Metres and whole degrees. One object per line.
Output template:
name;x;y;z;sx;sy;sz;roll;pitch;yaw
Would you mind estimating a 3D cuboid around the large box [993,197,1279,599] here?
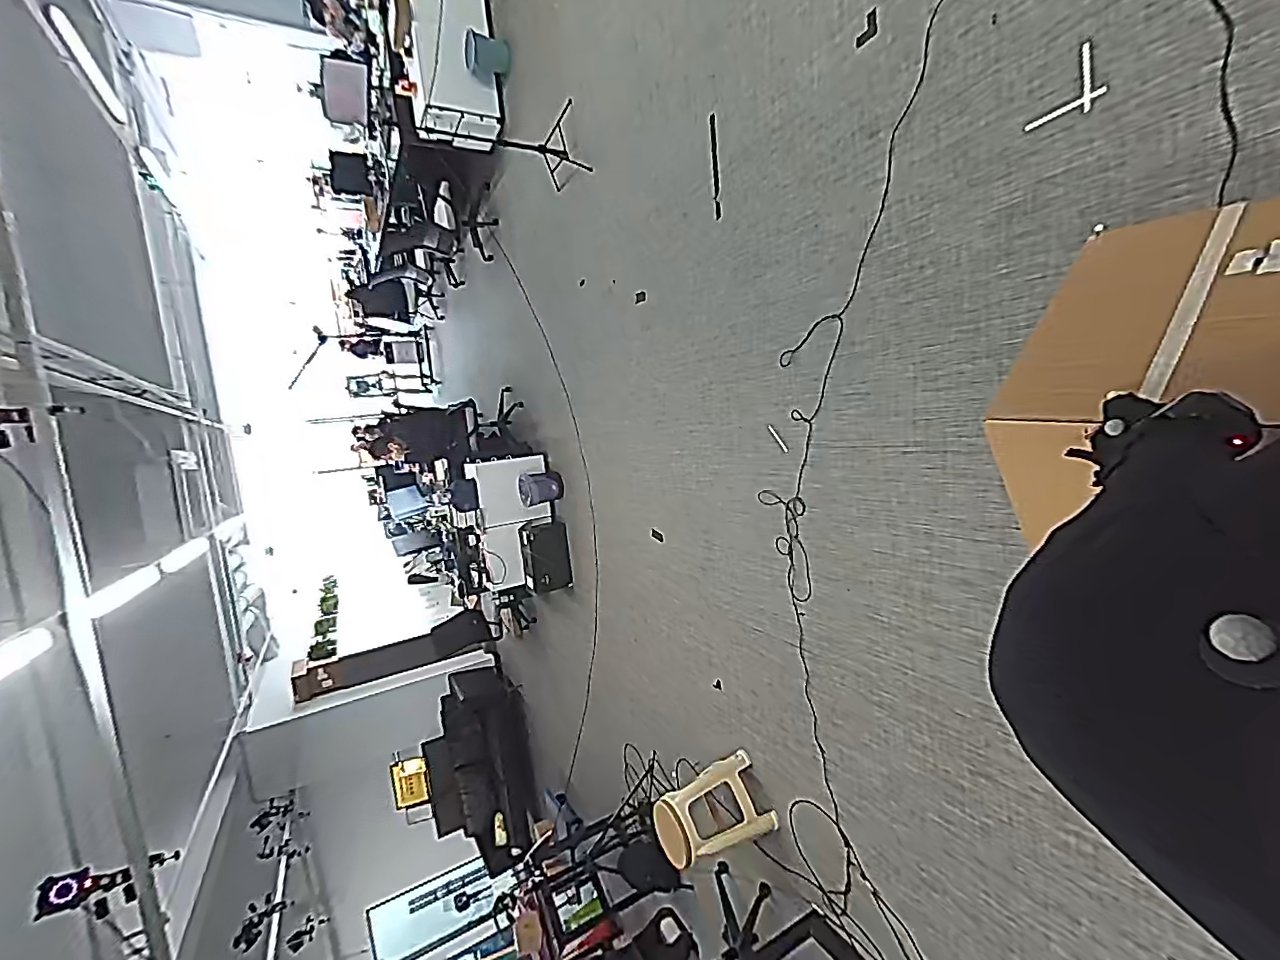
large box;0.746;-0.108;0.717;0.320;0.408;0.320;13;149;54
